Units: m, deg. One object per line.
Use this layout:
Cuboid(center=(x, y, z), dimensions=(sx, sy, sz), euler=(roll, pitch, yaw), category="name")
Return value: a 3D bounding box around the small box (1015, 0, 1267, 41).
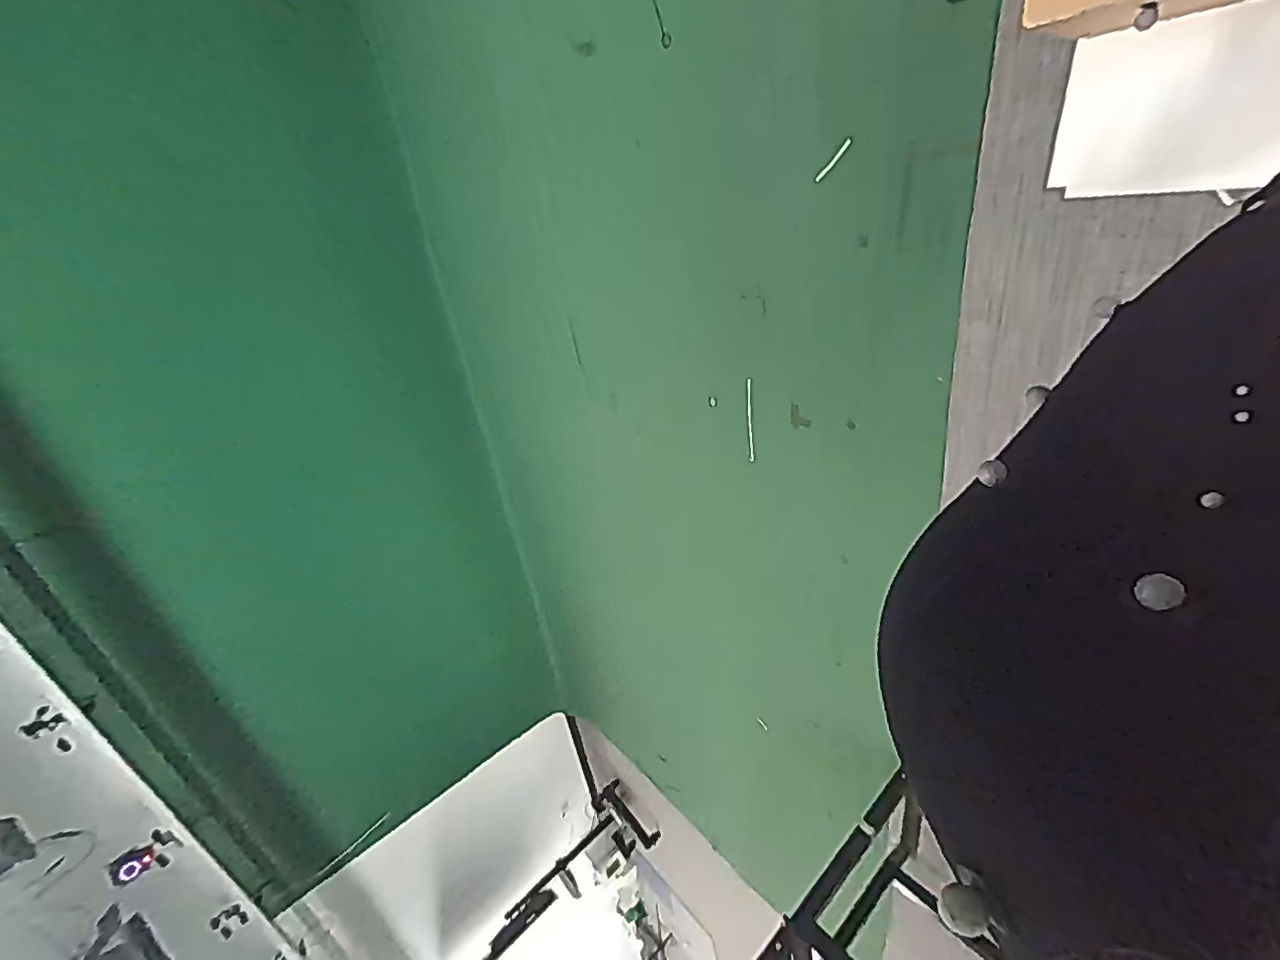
Cuboid(center=(0.427, -0.456, 0.408), dimensions=(0.179, 0.176, 0.168), euler=(23, 131, 45), category="small box")
